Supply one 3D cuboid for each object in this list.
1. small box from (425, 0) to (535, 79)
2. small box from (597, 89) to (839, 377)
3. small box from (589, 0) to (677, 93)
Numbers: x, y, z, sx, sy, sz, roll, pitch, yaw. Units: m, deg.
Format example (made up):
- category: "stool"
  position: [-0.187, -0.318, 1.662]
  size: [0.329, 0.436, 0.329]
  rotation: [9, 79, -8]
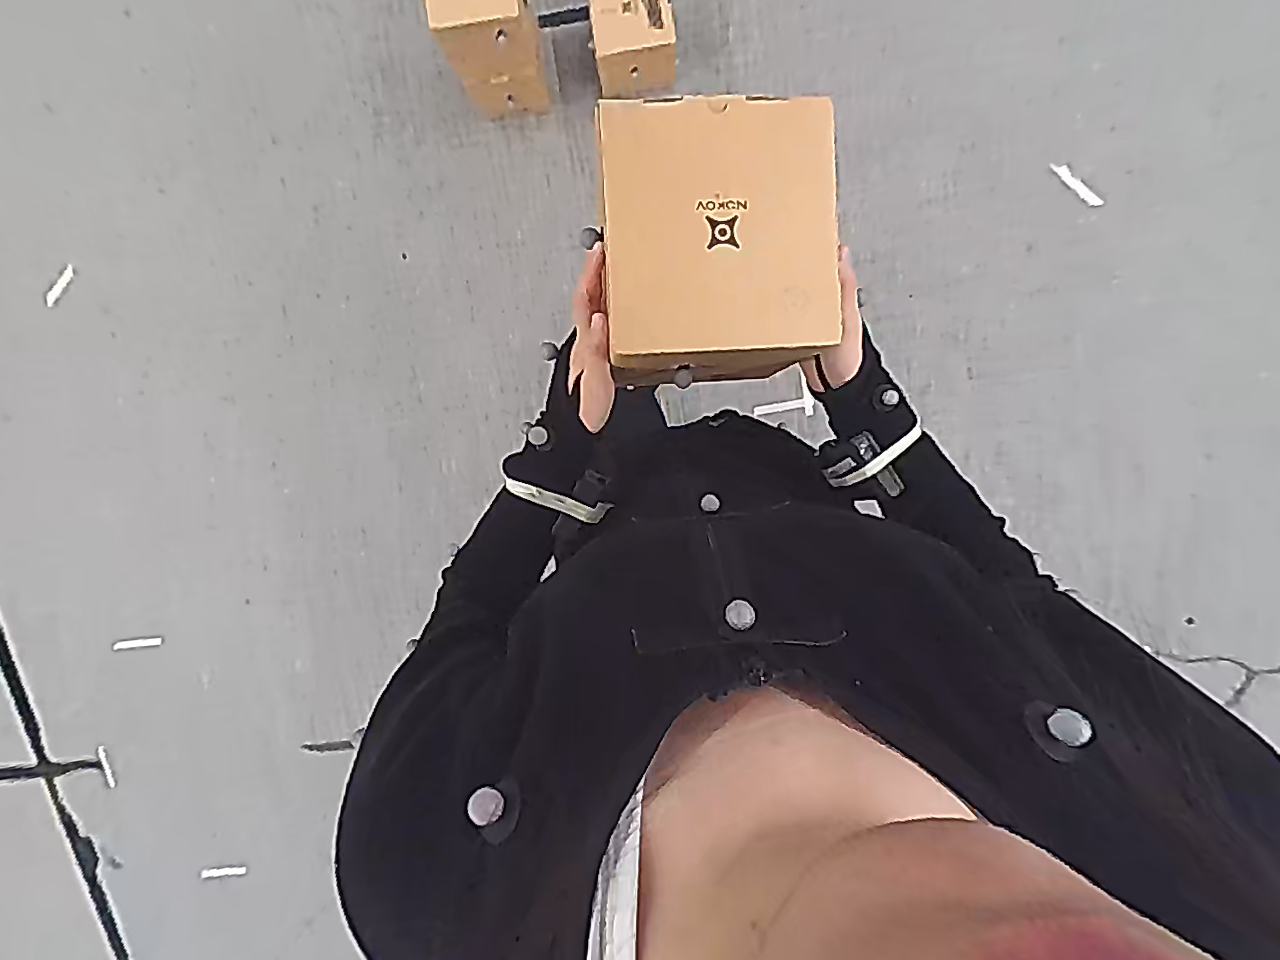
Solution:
- category: "small box"
  position: [-0.312, -0.935, 1.067]
  size: [0.179, 0.176, 0.168]
  rotation: [-7, 99, 3]
- category: "small box"
  position: [0.052, -0.184, 0.455]
  size: [0.168, 0.176, 0.179]
  rotation: [-3, 92, -4]
- category: "small box"
  position: [-0.015, -1.003, 1.214]
  size: [0.179, 0.176, 0.168]
  rotation: [-7, 100, 4]
